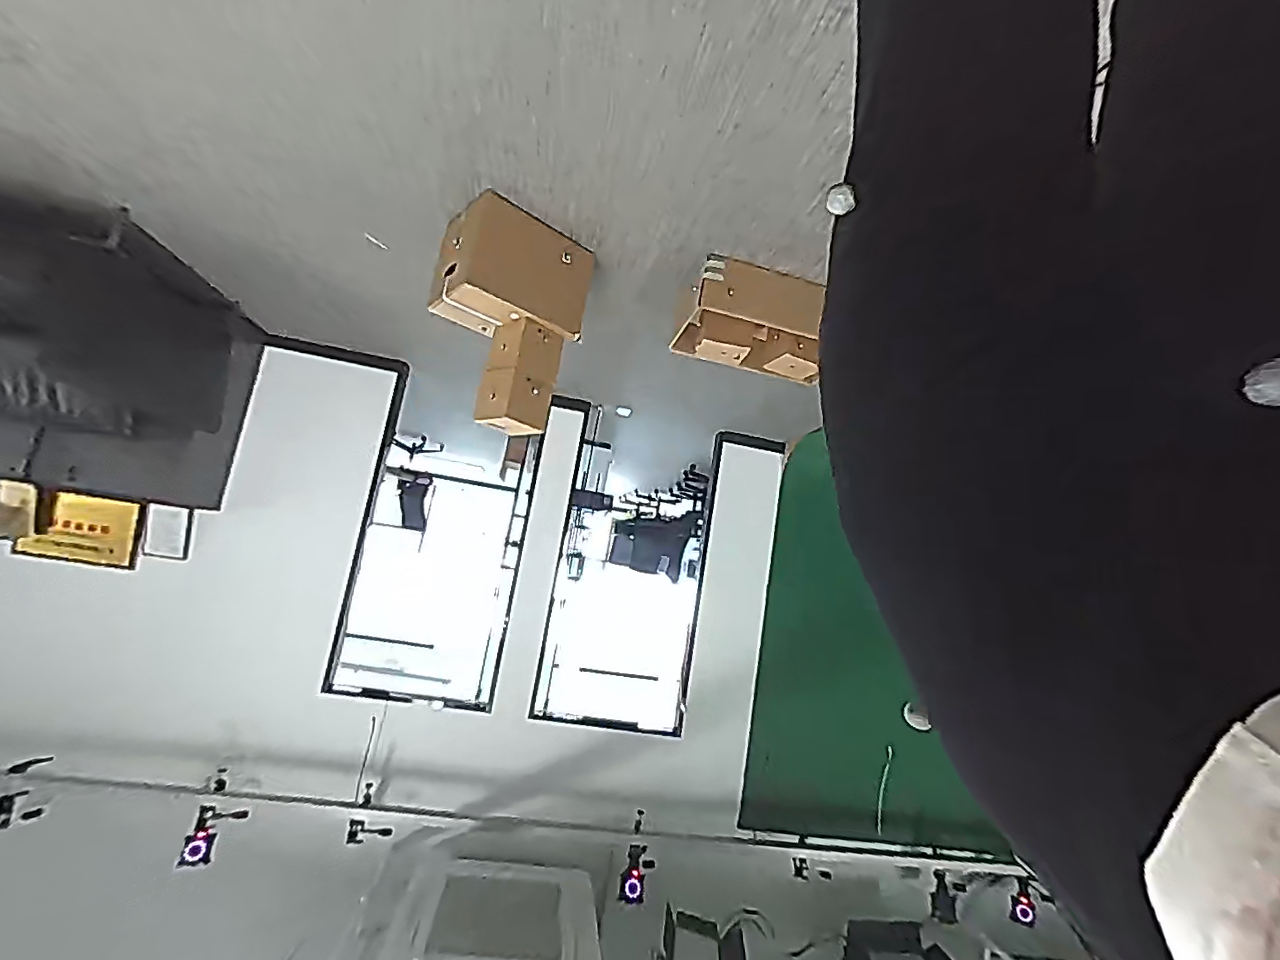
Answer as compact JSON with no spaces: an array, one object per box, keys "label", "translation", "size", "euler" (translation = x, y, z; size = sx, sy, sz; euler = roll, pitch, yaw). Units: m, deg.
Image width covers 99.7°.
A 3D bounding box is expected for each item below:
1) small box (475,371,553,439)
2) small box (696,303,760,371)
[{"label":"small box","translation":[-0.405,-0.241,1.767],"size":[0.179,0.176,0.168],"euler":[0,166,39]},{"label":"small box","translation":[0.315,-0.516,1.951],"size":[0.179,0.176,0.168],"euler":[11,170,-5]}]
